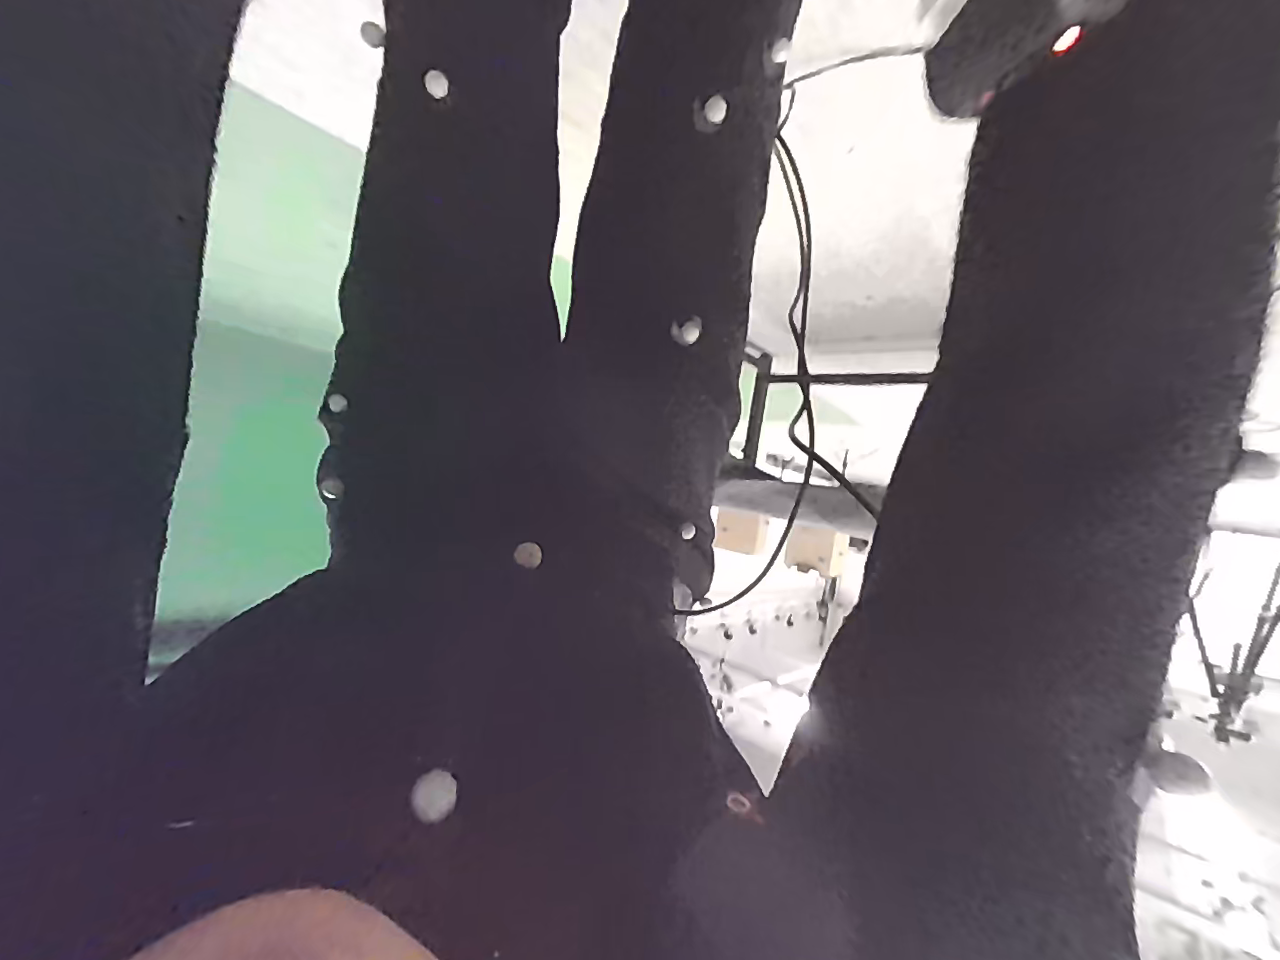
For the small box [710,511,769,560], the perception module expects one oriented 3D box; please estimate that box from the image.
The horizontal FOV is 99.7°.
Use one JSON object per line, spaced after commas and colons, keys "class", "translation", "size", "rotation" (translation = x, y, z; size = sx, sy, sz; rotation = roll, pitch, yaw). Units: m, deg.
{"class": "small box", "translation": [0.397, 0.217, 2.141], "size": [0.179, 0.176, 0.168], "rotation": [7, 180, 28]}
